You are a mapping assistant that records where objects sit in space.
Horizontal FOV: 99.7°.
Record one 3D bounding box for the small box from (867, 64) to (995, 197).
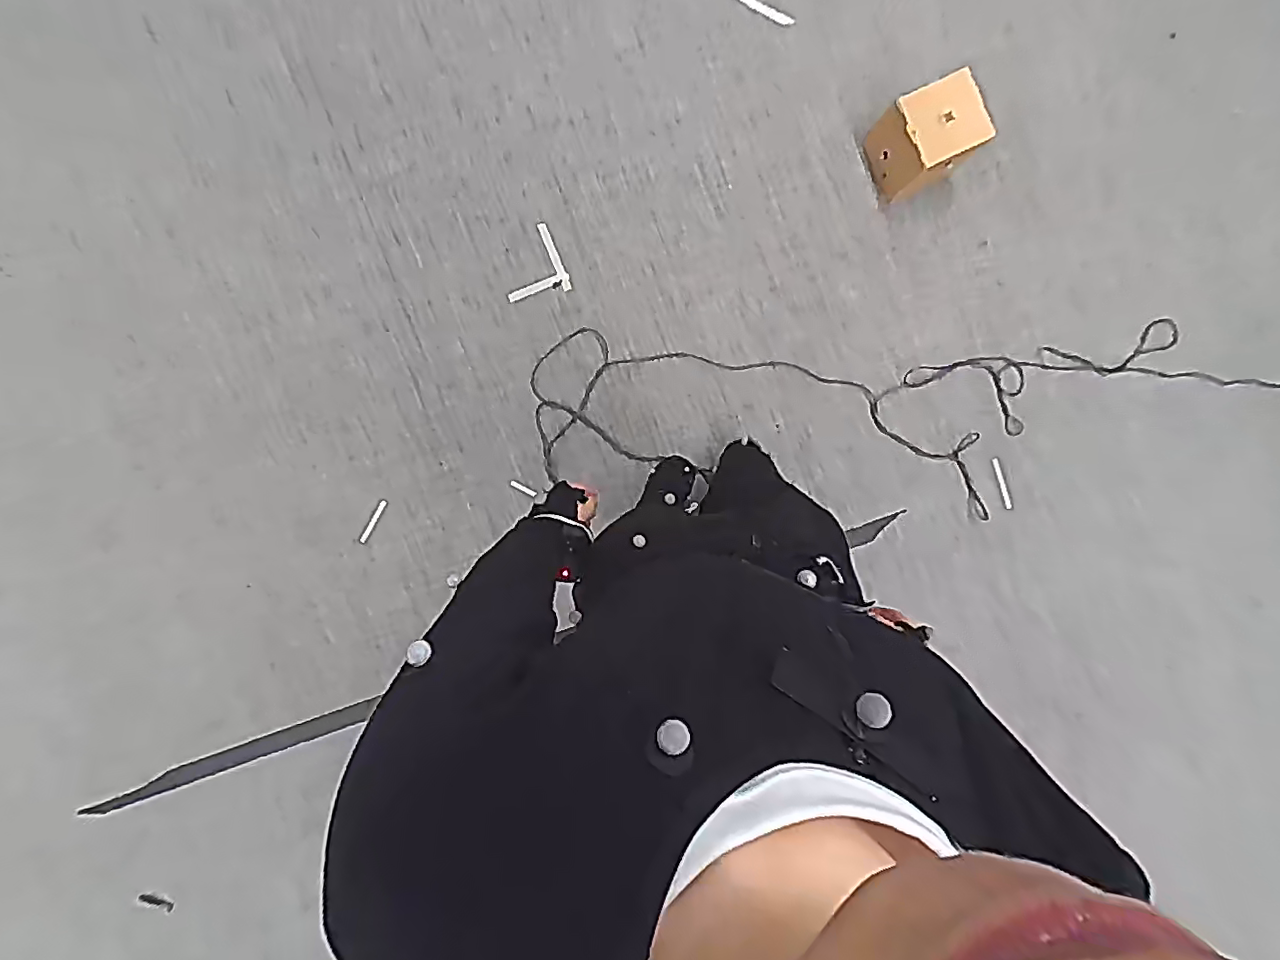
[{"bbox_3d":[0.671,-0.806,1.265,0.179,0.176,0.168,-26,94,0],"label":"small box"}]
